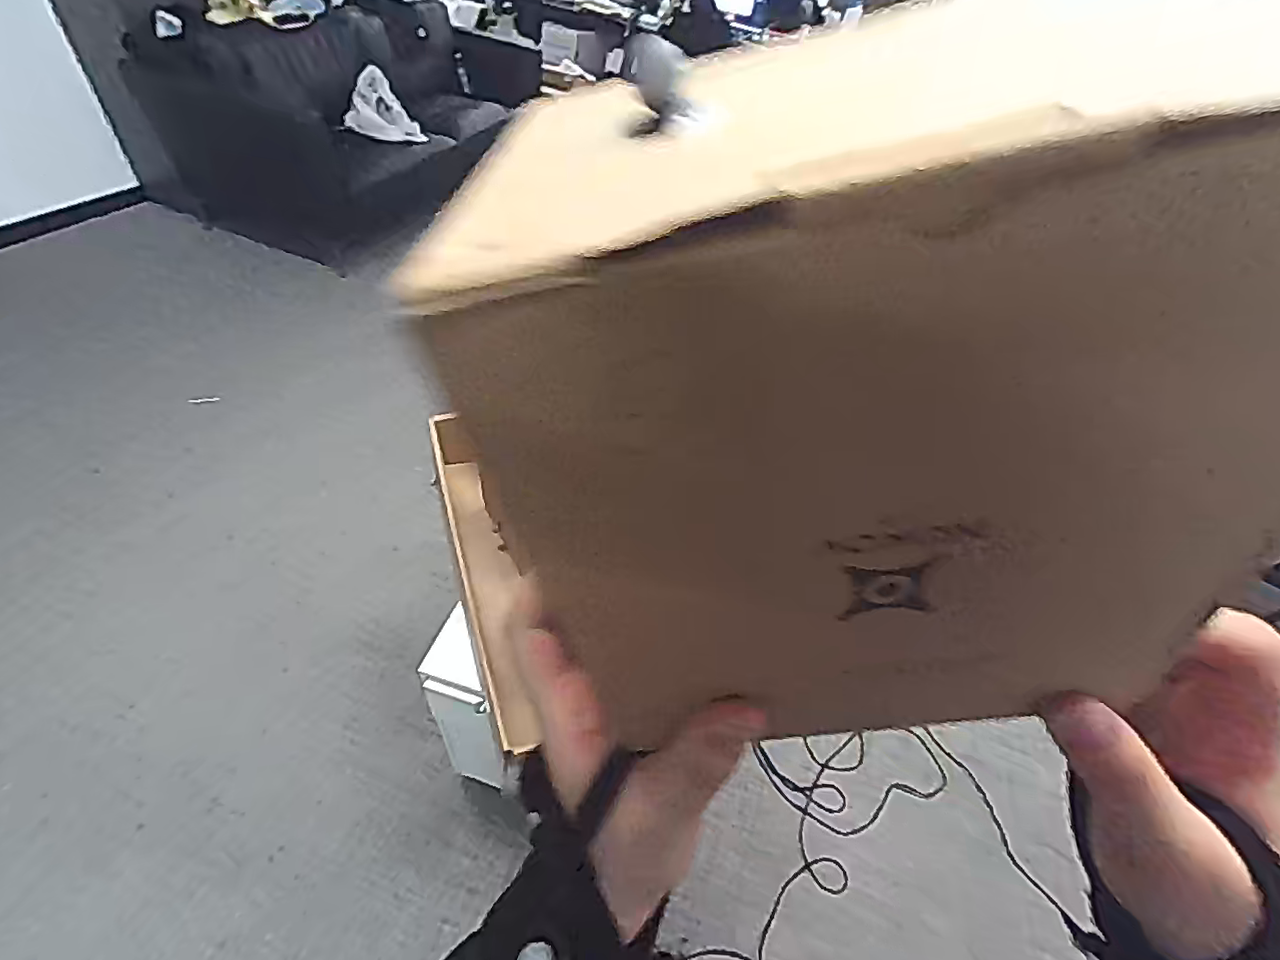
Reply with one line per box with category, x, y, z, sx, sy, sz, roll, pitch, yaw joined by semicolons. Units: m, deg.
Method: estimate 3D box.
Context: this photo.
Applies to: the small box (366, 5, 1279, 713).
small box;0.044;-0.041;0.198;0.168;0.179;0.176;-10;44;8
